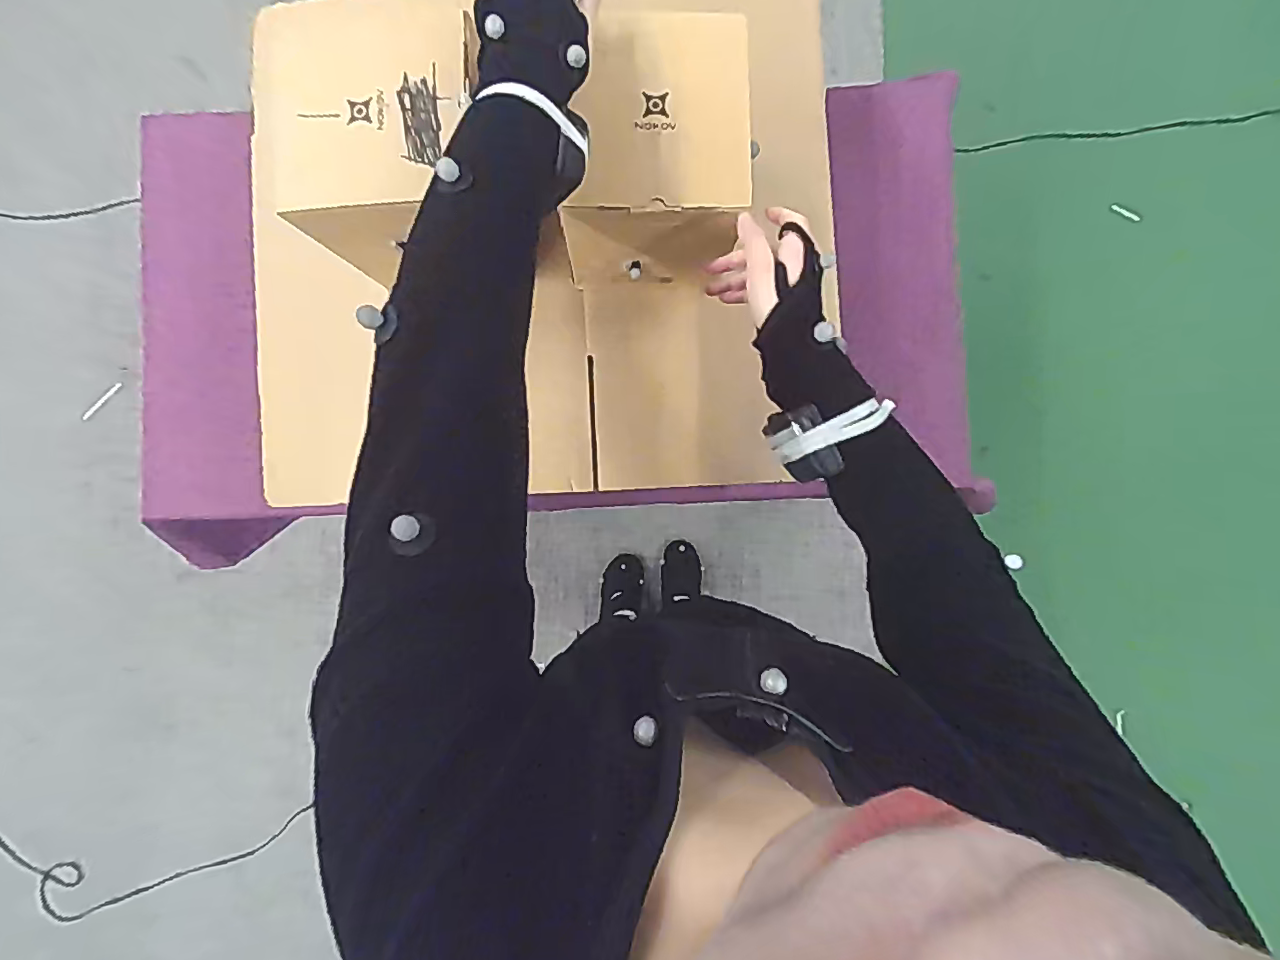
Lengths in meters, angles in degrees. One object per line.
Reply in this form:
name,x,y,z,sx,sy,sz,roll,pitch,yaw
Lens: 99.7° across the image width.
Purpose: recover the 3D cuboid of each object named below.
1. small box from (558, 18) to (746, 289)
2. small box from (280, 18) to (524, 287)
small box,0.007,-0.313,0.550,0.168,0.176,0.179,-1,89,-2
small box,-0.223,-0.310,0.548,0.179,0.176,0.168,-2,88,7
